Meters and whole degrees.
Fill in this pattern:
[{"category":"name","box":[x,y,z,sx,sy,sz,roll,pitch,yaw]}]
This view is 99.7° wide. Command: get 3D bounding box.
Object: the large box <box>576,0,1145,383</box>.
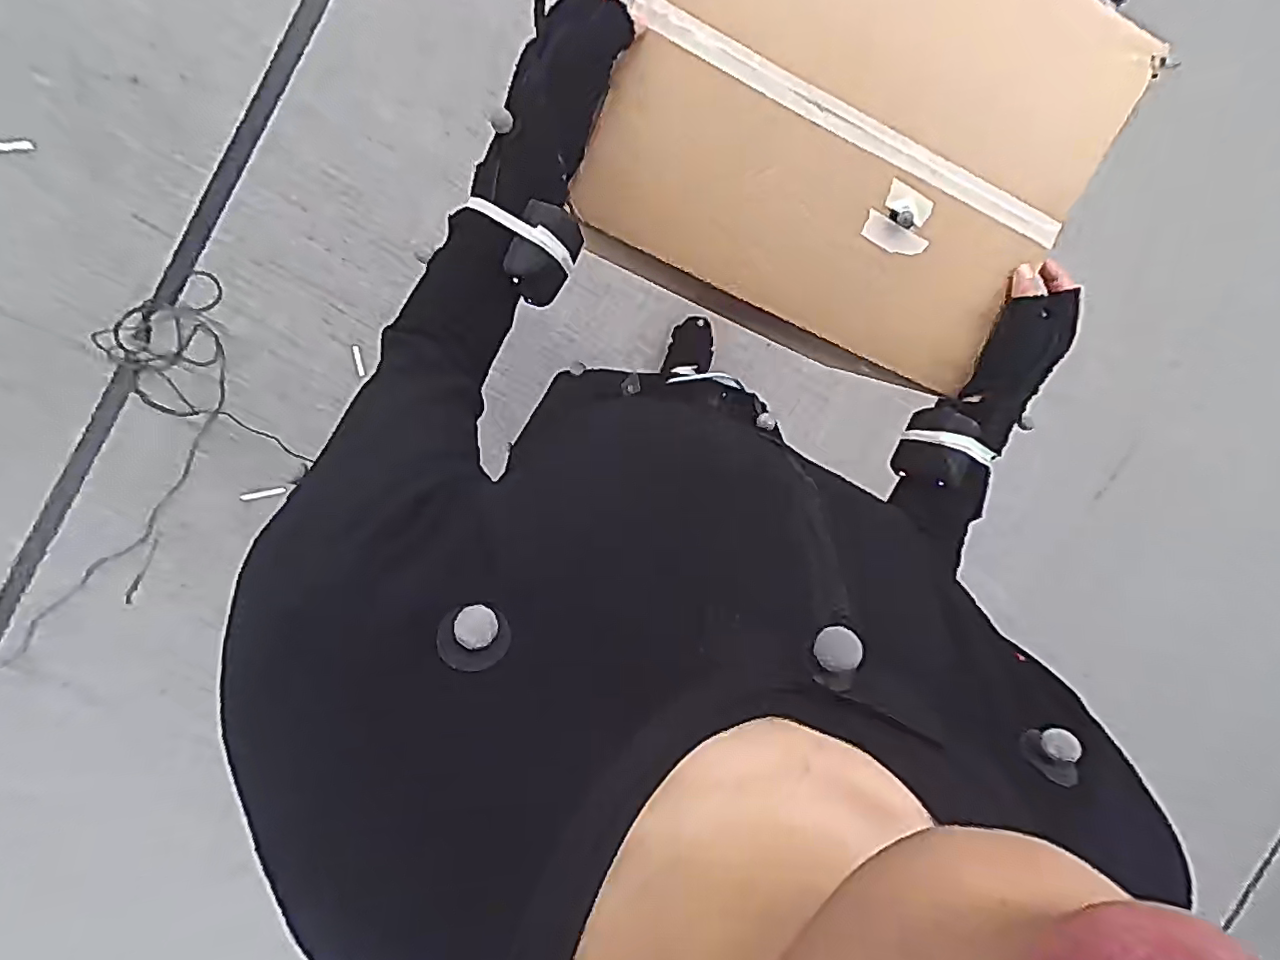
[{"category":"large box","box":[0.172,-0.343,0.595,0.408,0.320,0.320,22,107,-11]}]
